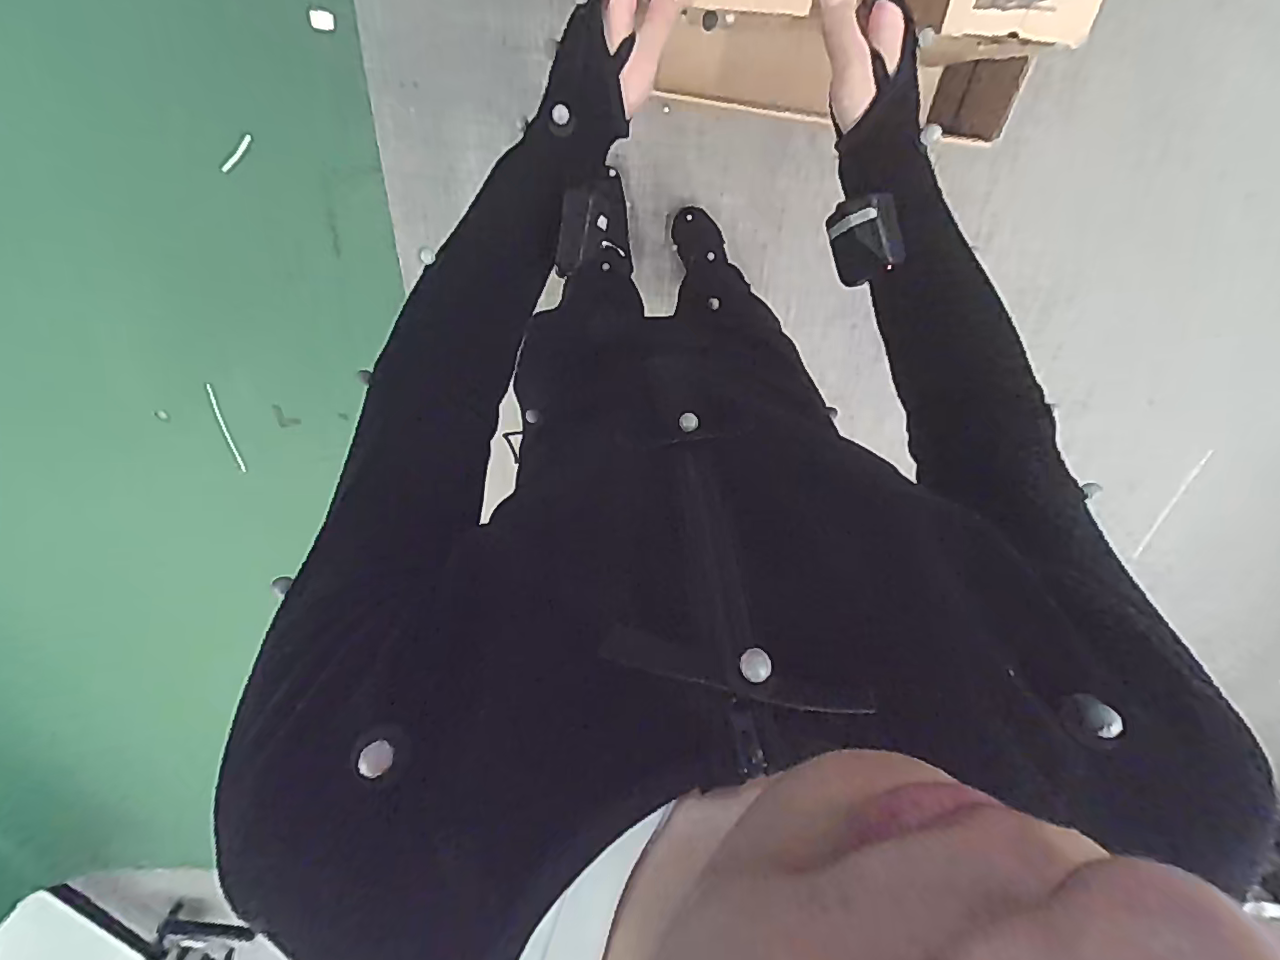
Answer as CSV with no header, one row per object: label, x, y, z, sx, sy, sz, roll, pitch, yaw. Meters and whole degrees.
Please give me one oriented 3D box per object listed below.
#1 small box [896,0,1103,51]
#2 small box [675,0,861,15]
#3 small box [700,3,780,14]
small box,0.415,-0.603,0.606,0.168,0.176,0.179,4,124,-3
small box,0.092,-0.485,0.420,0.168,0.176,0.179,1,132,-5
small box,0.120,-0.637,0.581,0.168,0.176,0.179,5,124,-3
